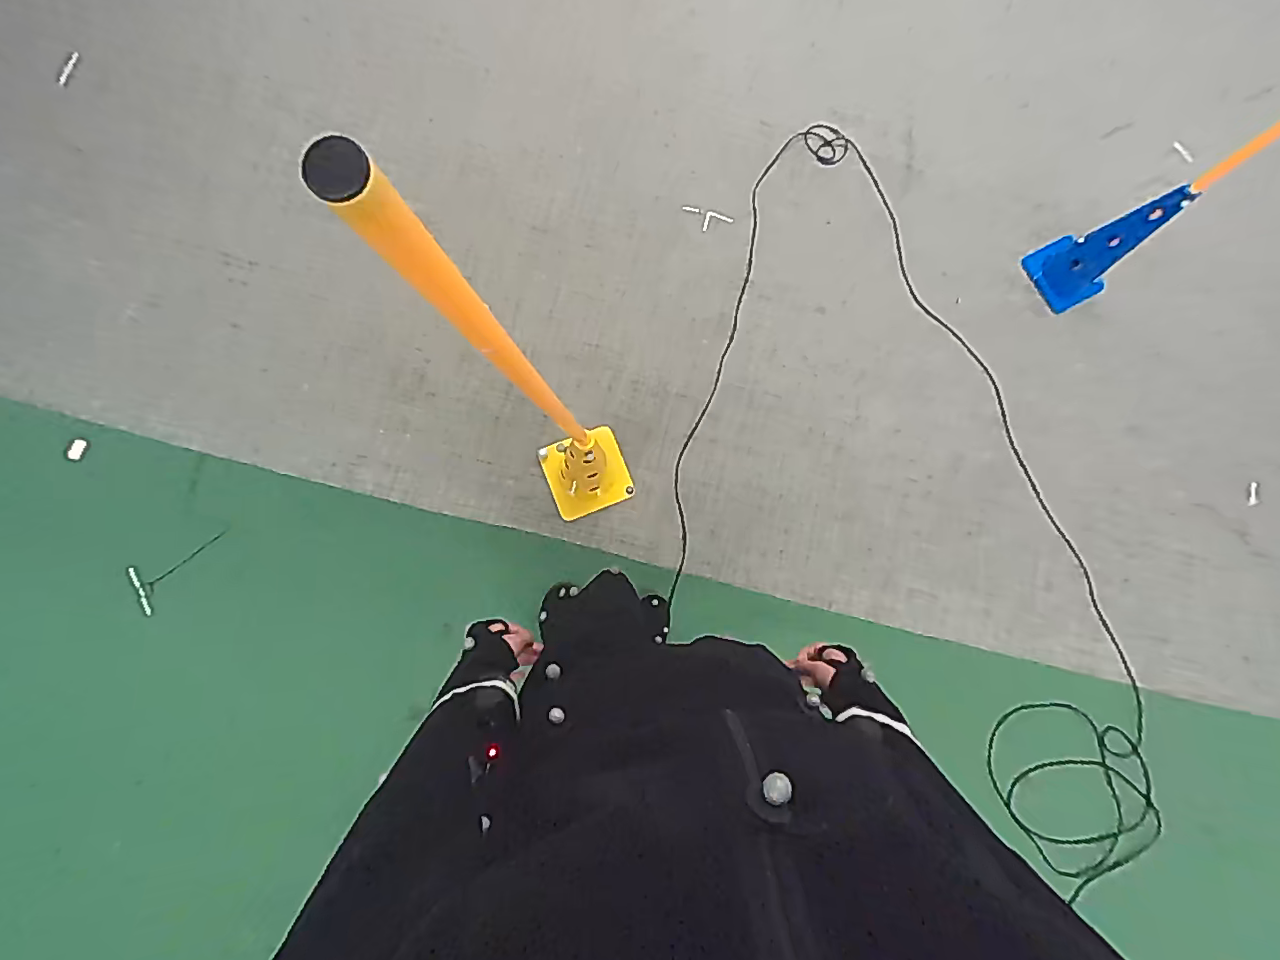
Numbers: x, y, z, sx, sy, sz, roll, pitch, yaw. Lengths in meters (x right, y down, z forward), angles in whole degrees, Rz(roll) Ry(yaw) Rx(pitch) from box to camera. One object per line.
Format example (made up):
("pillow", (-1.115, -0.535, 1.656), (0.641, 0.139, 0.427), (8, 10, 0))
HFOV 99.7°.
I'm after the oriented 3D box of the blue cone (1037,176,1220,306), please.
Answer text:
("blue cone", (1.267, -0.642, 1.398), (0.193, 0.380, 0.192), (-30, 84, -10))
